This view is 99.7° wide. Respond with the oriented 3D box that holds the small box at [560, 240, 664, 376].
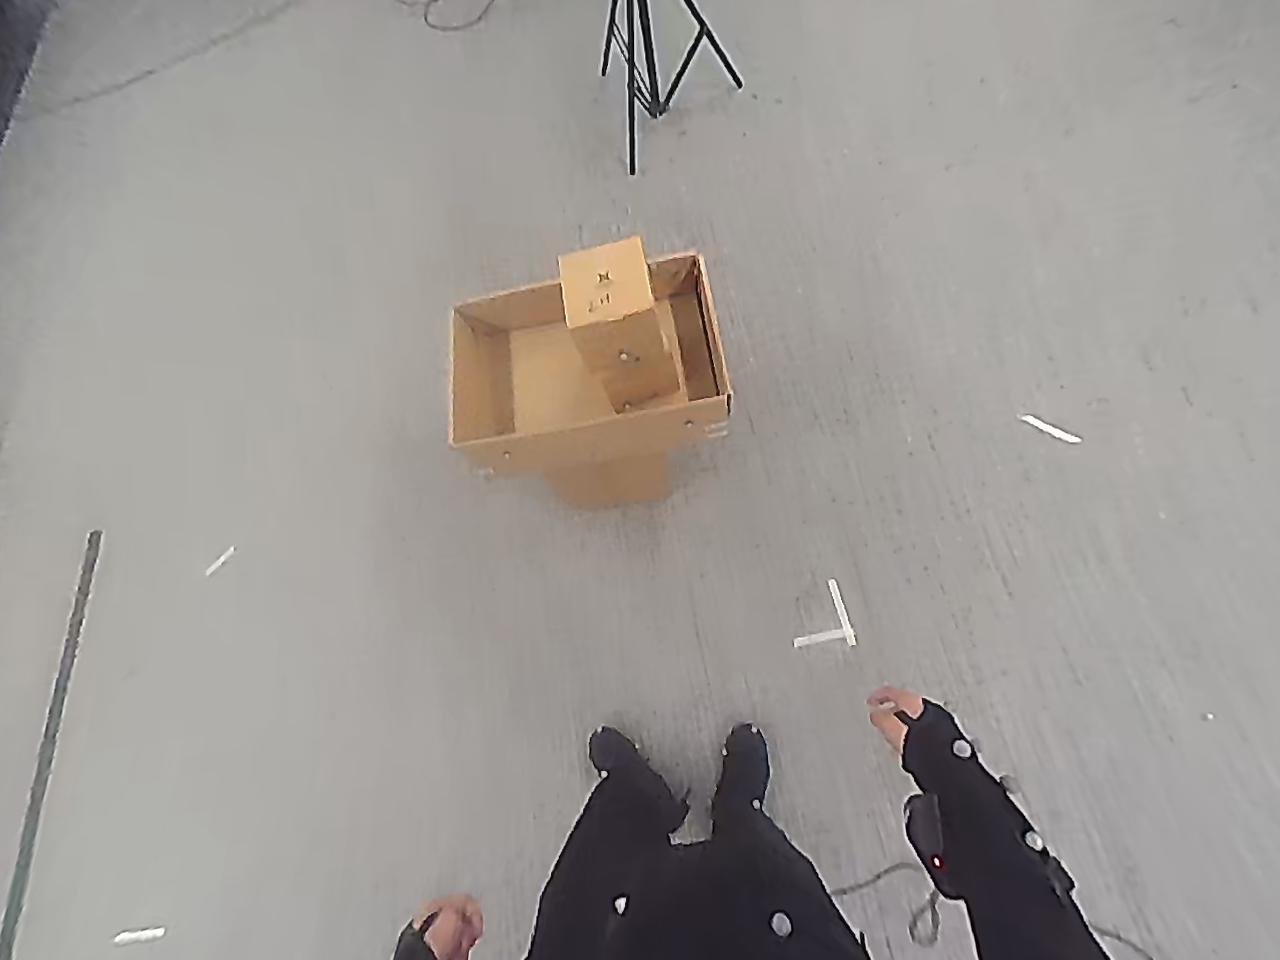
[{"bbox_3d":[-0.052,-0.337,1.083,0.168,0.176,0.179,-12,69,7],"label":"small box"}]
